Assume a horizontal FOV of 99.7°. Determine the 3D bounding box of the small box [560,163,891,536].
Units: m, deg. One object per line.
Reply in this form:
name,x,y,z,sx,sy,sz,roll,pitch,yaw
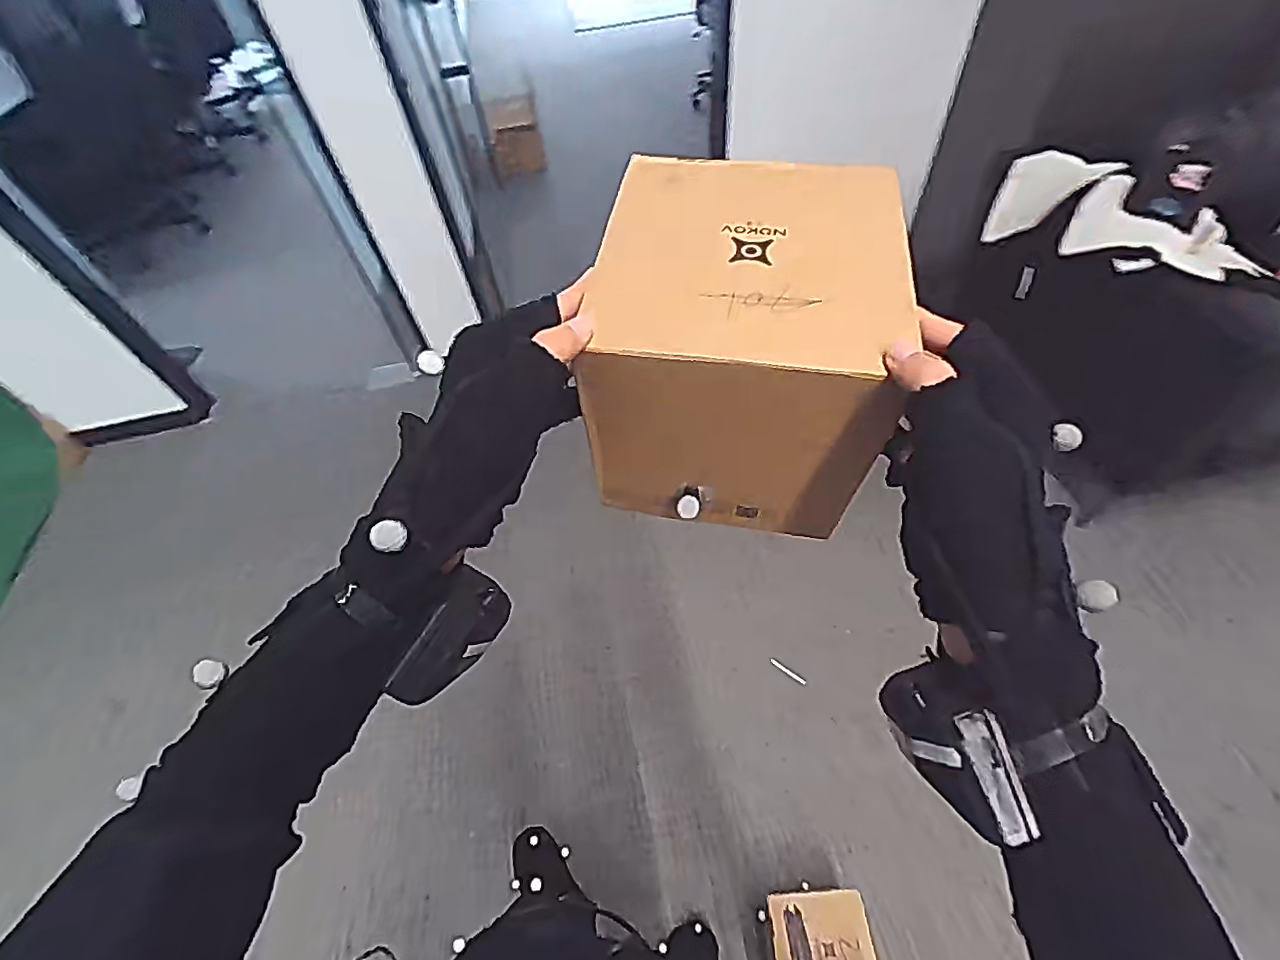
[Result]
small box,0.055,-0.084,0.373,0.168,0.176,0.179,7,59,7
